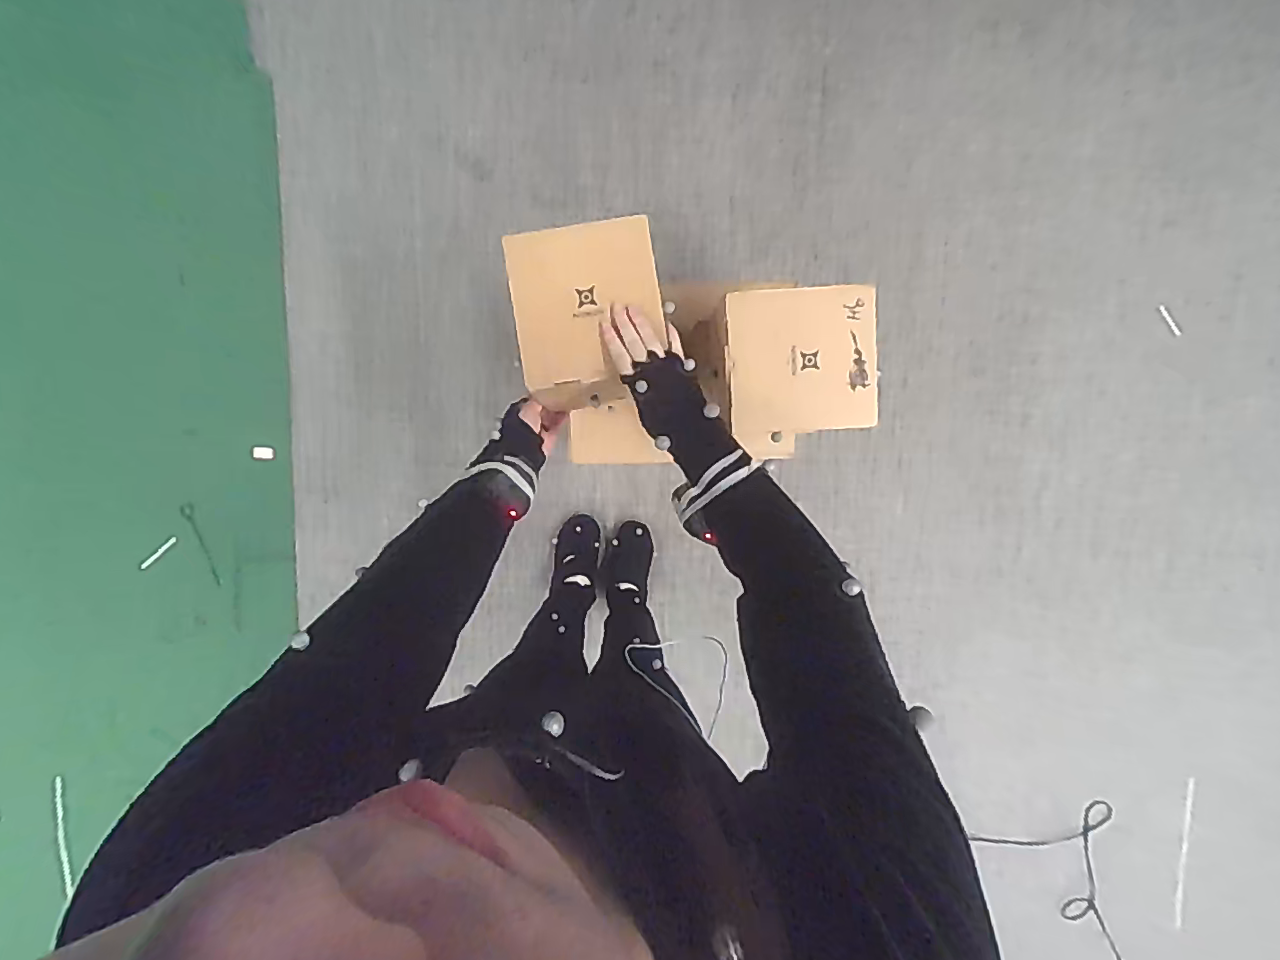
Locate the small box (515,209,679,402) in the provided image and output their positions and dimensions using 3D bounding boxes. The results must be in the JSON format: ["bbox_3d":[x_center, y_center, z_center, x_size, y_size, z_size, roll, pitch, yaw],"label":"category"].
[{"bbox_3d":[-0.051,-0.206,0.683,0.168,0.176,0.179,-9,90,-1],"label":"small box"}]
